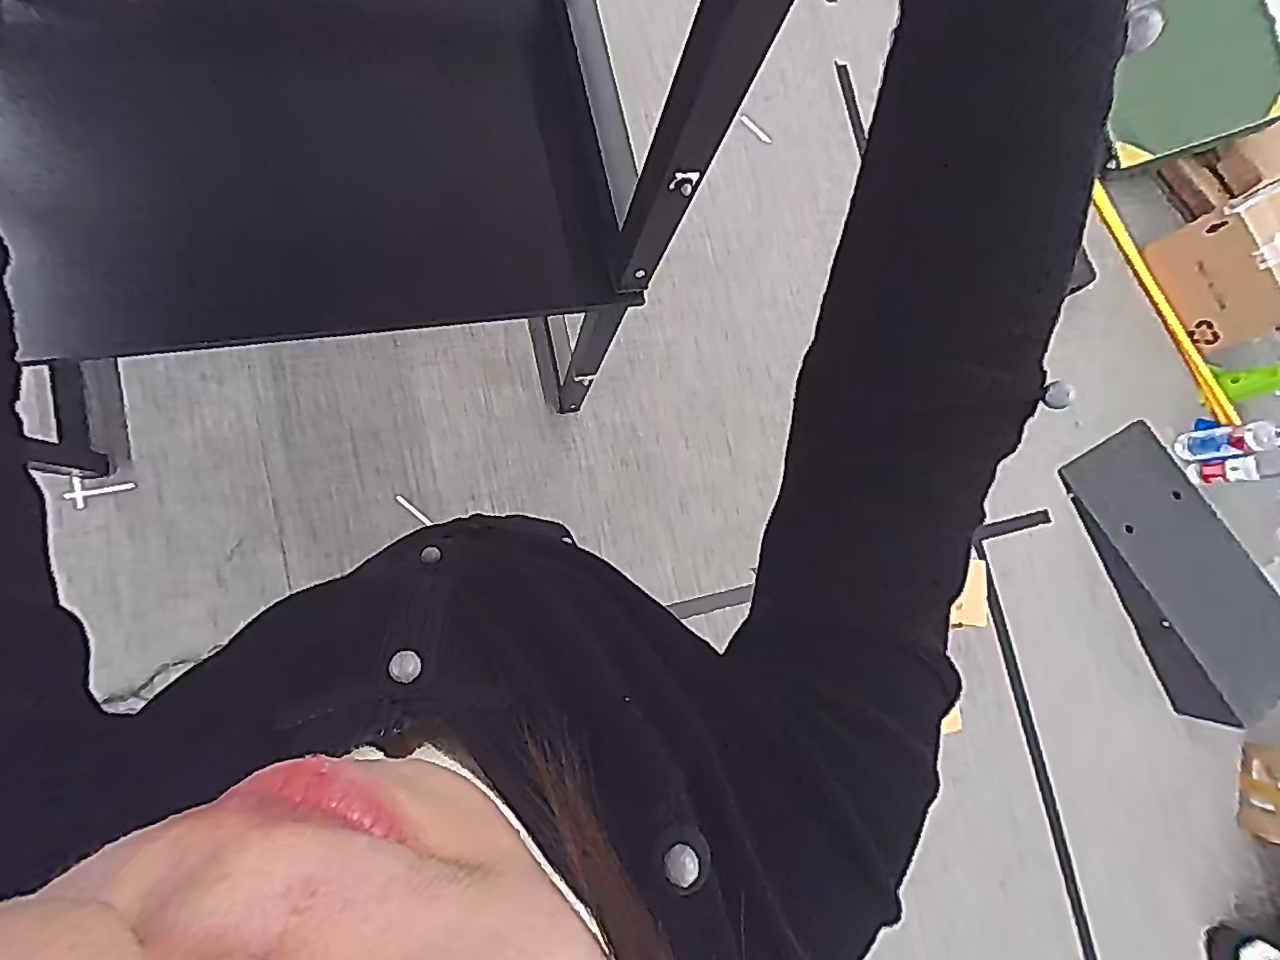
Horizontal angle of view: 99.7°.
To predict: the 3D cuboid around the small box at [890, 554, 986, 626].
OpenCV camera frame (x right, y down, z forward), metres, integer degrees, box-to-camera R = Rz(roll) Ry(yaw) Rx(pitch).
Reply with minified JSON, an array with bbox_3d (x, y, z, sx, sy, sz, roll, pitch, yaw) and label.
[{"bbox_3d":[0.814,0.300,1.488,0.168,0.176,0.179,7,81,-12],"label":"small box"}]
